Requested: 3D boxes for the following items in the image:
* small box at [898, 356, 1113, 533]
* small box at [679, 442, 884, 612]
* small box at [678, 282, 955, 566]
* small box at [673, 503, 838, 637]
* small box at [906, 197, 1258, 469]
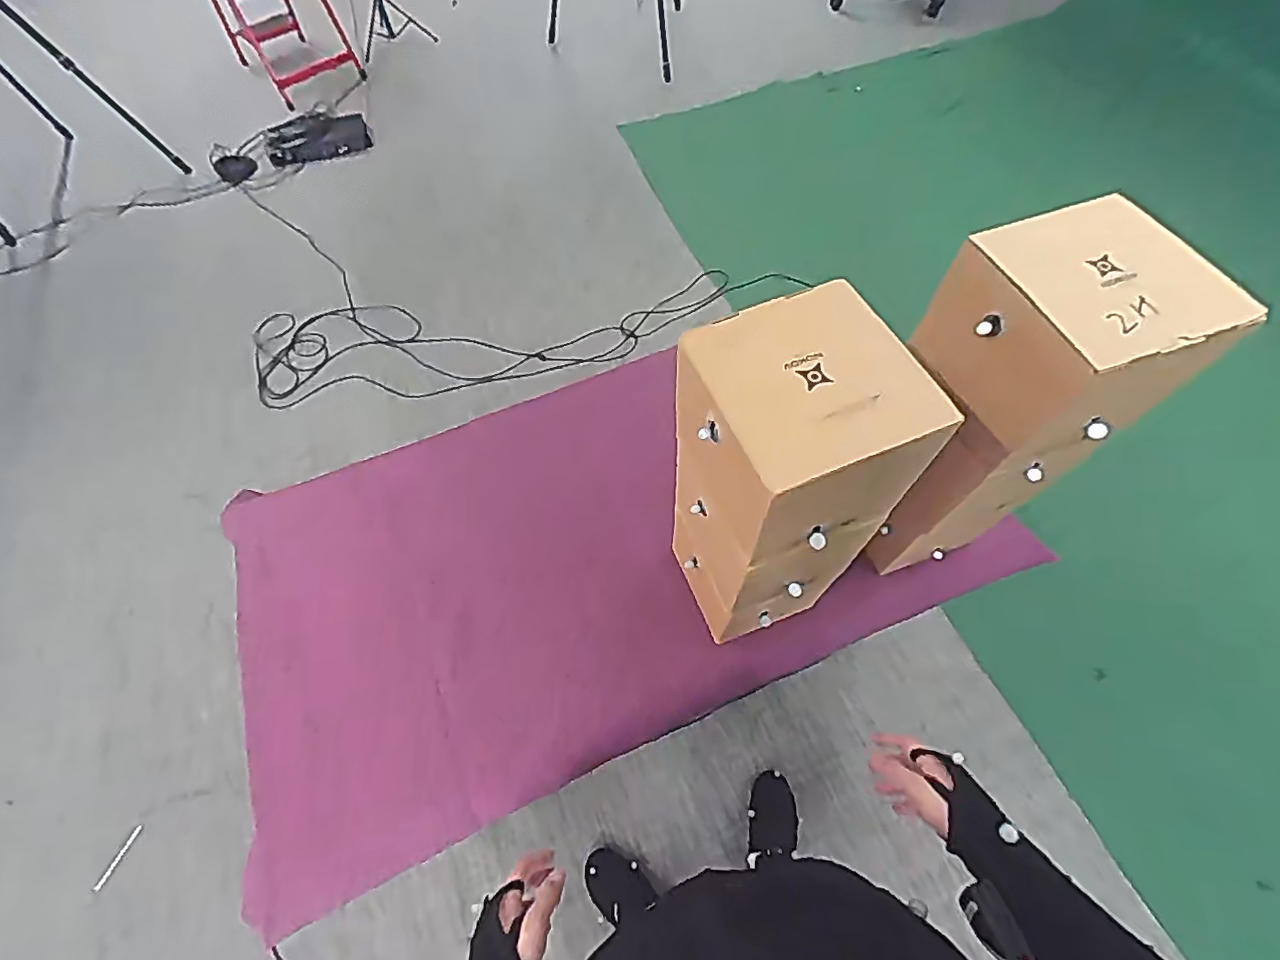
[{"bbox_3d":[0.414,-0.059,0.685,0.168,0.176,0.179,-18,61,-6],"label":"small box"},{"bbox_3d":[0.150,0.034,0.652,0.168,0.176,0.179,-20,62,-7],"label":"small box"},{"bbox_3d":[0.140,-0.046,0.510,0.168,0.176,0.179,-20,62,-7],"label":"small box"},{"bbox_3d":[0.157,0.116,0.794,0.168,0.176,0.179,-20,61,-8],"label":"small box"},{"bbox_3d":[0.406,-0.140,0.541,0.168,0.176,0.179,-18,63,-6],"label":"small box"}]
